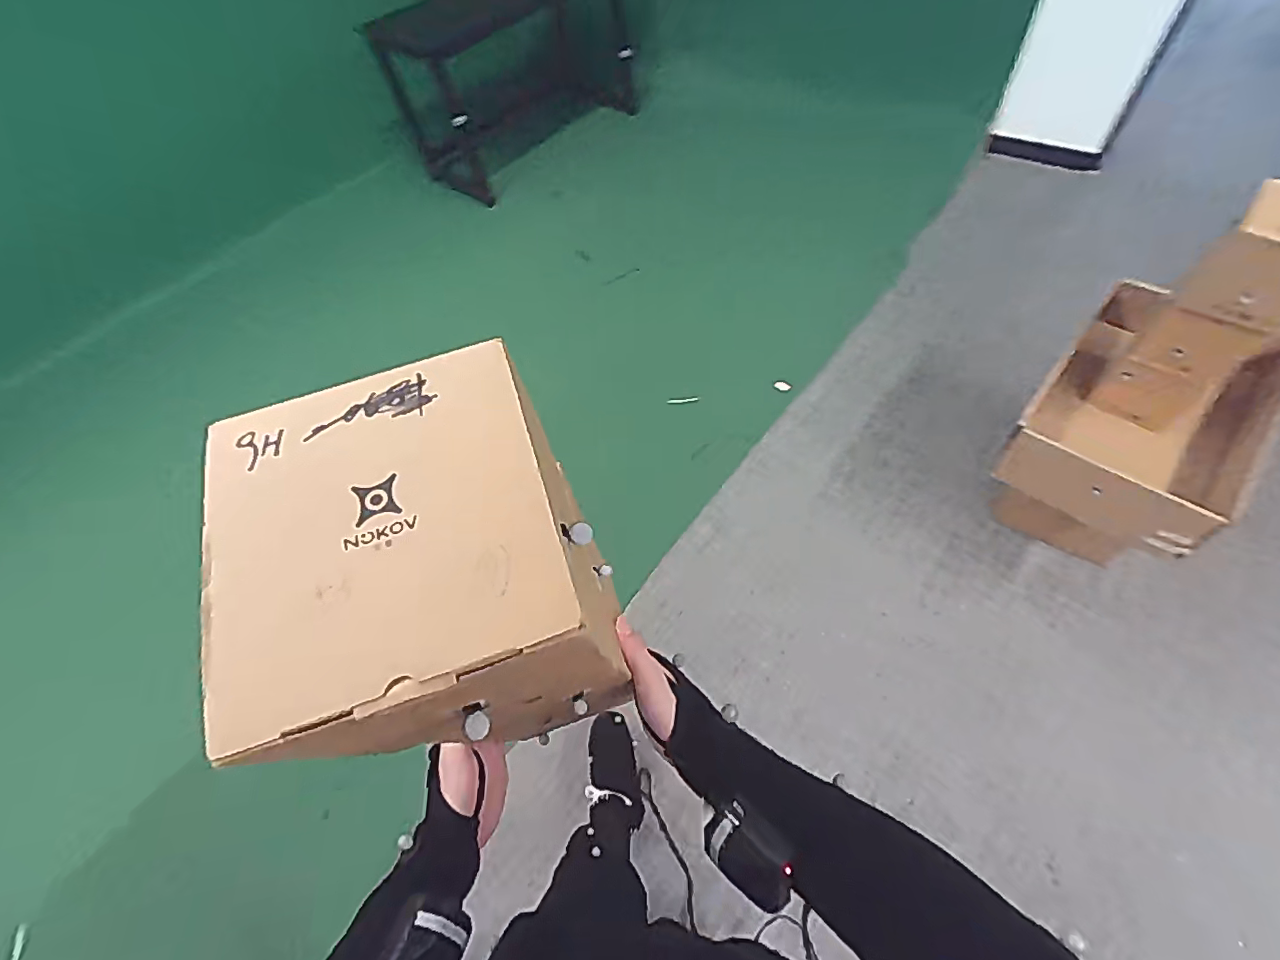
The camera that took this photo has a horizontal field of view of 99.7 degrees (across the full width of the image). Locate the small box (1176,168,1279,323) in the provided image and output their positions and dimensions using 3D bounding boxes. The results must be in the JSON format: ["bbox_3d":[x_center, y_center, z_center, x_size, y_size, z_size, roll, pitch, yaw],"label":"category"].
[{"bbox_3d":[1.150,-0.425,0.989,0.168,0.176,0.179,33,71,26],"label":"small box"}]

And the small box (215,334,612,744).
[{"bbox_3d":[-0.123,0.046,0.343,0.168,0.176,0.179,-18,66,-5],"label":"small box"}]

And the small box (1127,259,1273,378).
[{"bbox_3d":[1.185,-0.352,1.134,0.168,0.176,0.179,35,72,26],"label":"small box"}]

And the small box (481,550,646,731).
[{"bbox_3d":[-0.097,0.180,0.640,0.168,0.176,0.179,-19,64,-4],"label":"small box"}]

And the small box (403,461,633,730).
[{"bbox_3d":[-0.110,0.112,0.492,0.168,0.176,0.179,-17,64,-4],"label":"small box"}]
